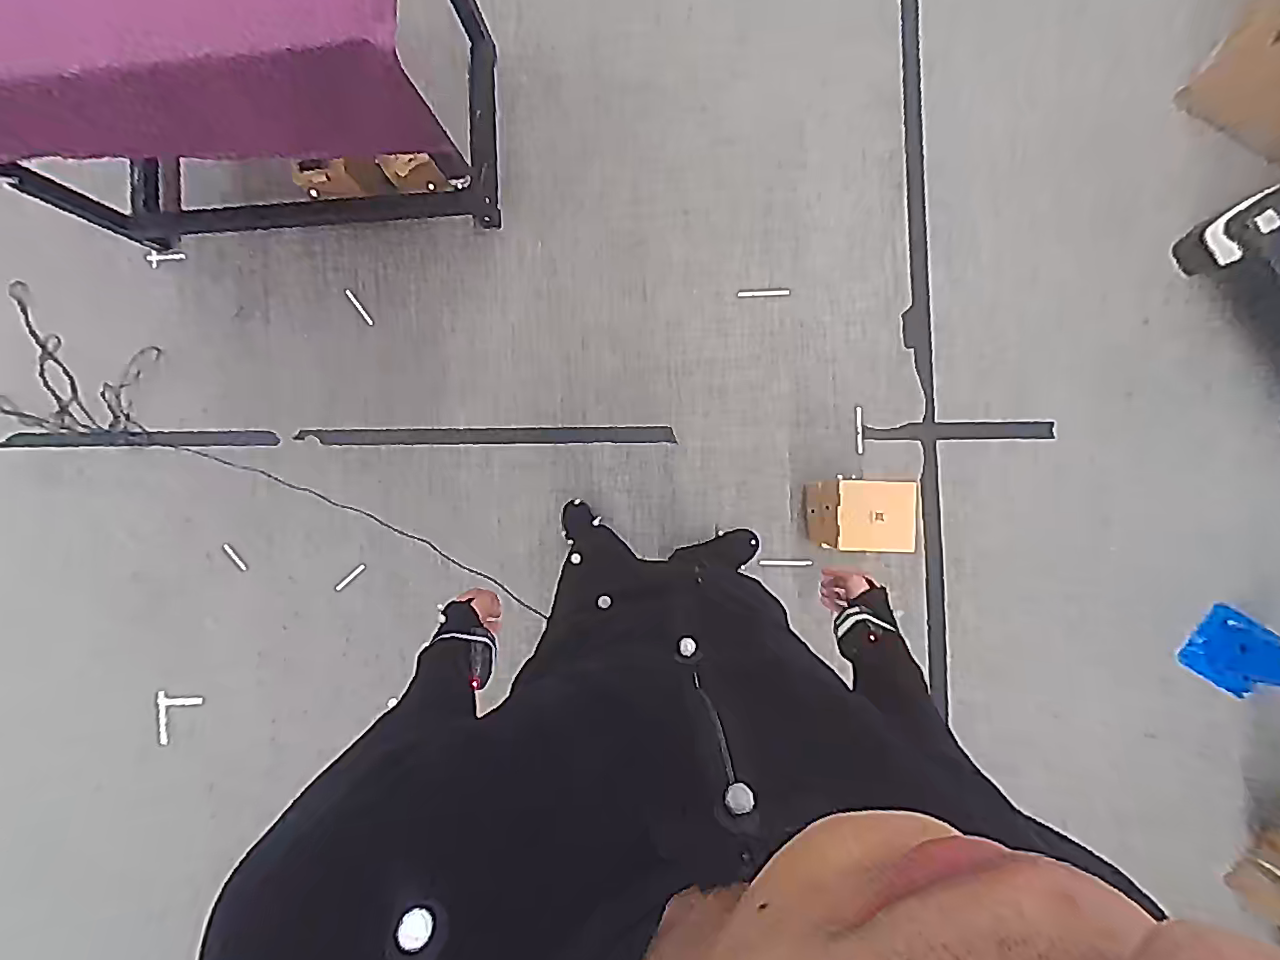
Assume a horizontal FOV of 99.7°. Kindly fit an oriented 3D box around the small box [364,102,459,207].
[{"bbox_3d":[-0.682,-0.972,1.632,0.168,0.176,0.179,-30,86,5],"label":"small box"}]

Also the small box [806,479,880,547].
[{"bbox_3d":[0.564,0.088,1.504,0.168,0.176,0.179,-3,89,6],"label":"small box"}]

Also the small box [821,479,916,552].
[{"bbox_3d":[0.560,0.083,1.341,0.179,0.176,0.168,1,90,6],"label":"small box"}]
